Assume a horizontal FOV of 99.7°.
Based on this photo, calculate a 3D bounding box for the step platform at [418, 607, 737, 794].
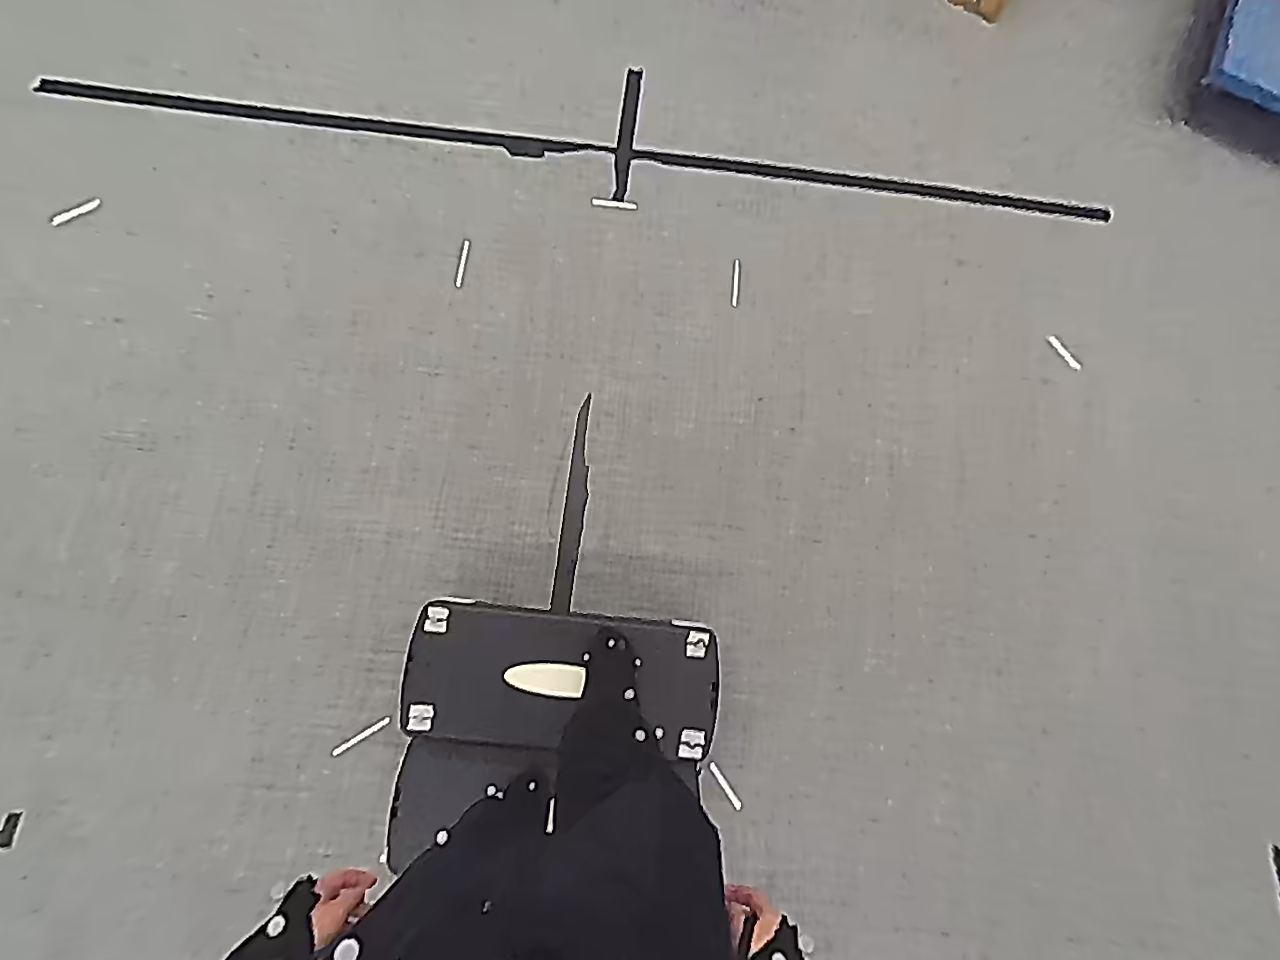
[{"bbox_3d":[-0.129,0.484,1.219,0.684,0.204,0.286,11,74,-2],"label":"step platform"}]
